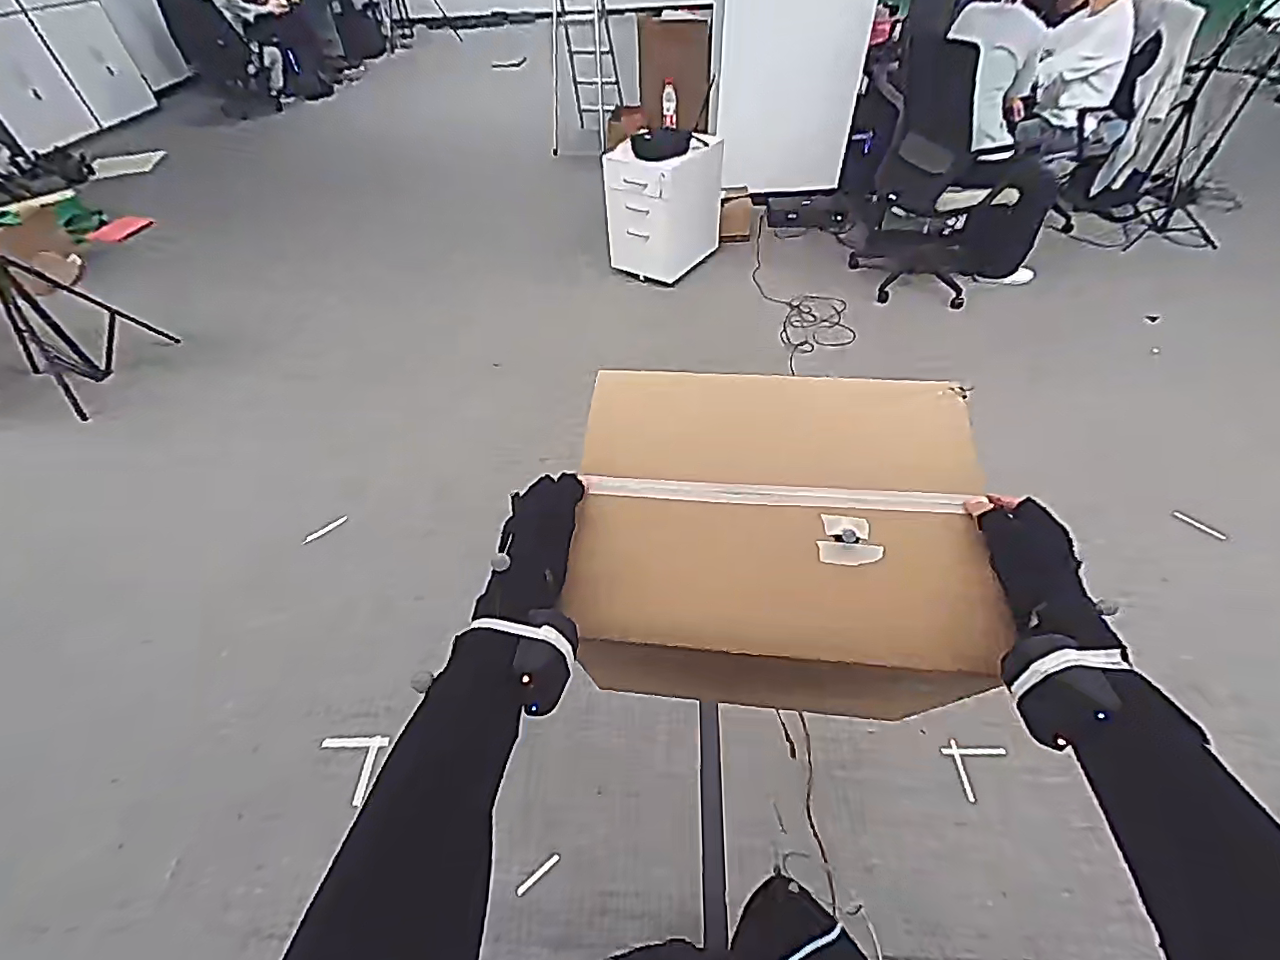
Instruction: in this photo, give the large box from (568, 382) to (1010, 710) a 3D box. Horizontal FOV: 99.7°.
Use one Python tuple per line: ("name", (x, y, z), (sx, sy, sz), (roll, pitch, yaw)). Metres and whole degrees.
("large box", (0.148, 0.095, 0.690), (0.408, 0.320, 0.320), (3, 61, 6))
